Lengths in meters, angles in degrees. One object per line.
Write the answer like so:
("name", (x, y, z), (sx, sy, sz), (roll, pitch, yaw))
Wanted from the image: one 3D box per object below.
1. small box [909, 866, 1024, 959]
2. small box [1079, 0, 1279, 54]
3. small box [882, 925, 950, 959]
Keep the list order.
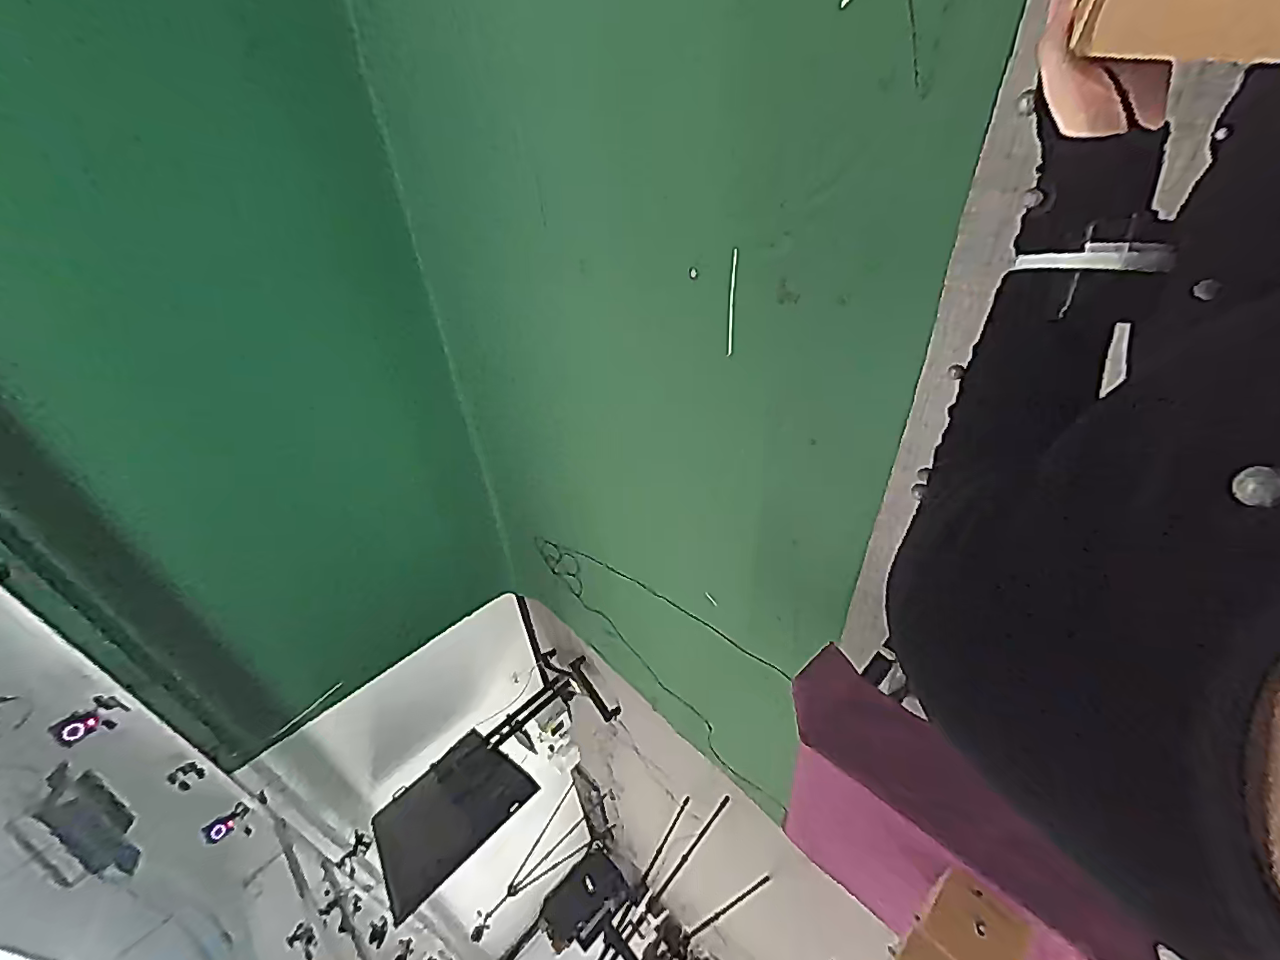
("small box", (0.701, 0.993, 1.178), (0.168, 0.176, 0.179), (31, 140, 36))
("small box", (0.329, -0.305, 0.225), (0.179, 0.176, 0.168), (19, 148, 19))
("small box", (0.578, 1.069, 1.097), (0.179, 0.176, 0.168), (31, 140, 36))
